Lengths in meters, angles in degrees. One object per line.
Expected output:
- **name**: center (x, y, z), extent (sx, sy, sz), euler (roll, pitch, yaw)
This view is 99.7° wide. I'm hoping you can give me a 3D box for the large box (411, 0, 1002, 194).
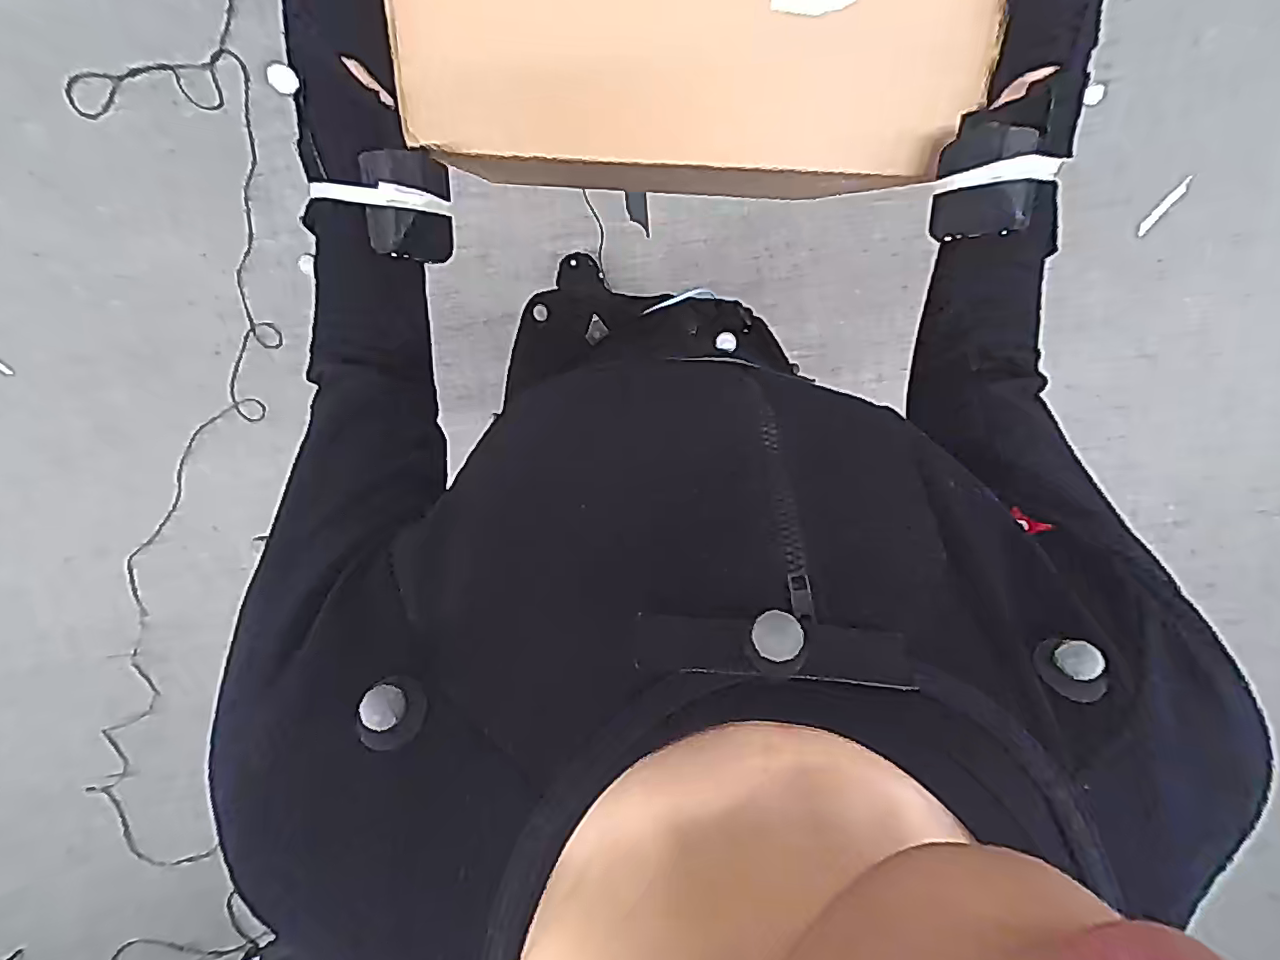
- **large box**: center (0.038, -0.434, 0.466), extent (0.408, 0.320, 0.320), euler (0, 116, -6)
